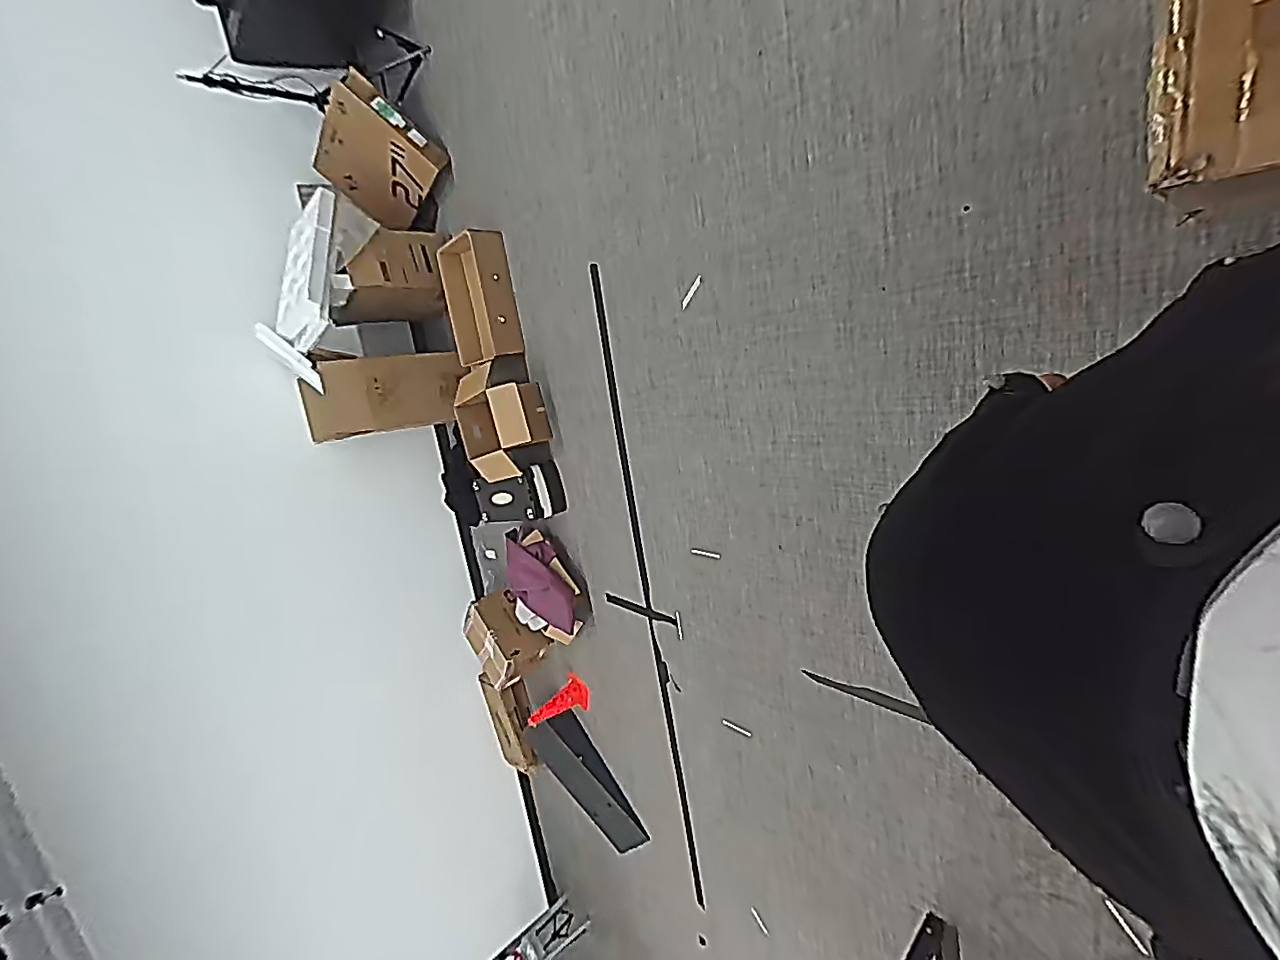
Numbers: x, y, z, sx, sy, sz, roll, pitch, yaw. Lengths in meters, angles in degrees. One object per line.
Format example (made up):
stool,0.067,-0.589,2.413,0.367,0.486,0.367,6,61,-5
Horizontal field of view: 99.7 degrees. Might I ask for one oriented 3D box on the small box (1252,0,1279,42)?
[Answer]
small box,0.595,-0.486,0.409,0.168,0.176,0.179,6,110,49
